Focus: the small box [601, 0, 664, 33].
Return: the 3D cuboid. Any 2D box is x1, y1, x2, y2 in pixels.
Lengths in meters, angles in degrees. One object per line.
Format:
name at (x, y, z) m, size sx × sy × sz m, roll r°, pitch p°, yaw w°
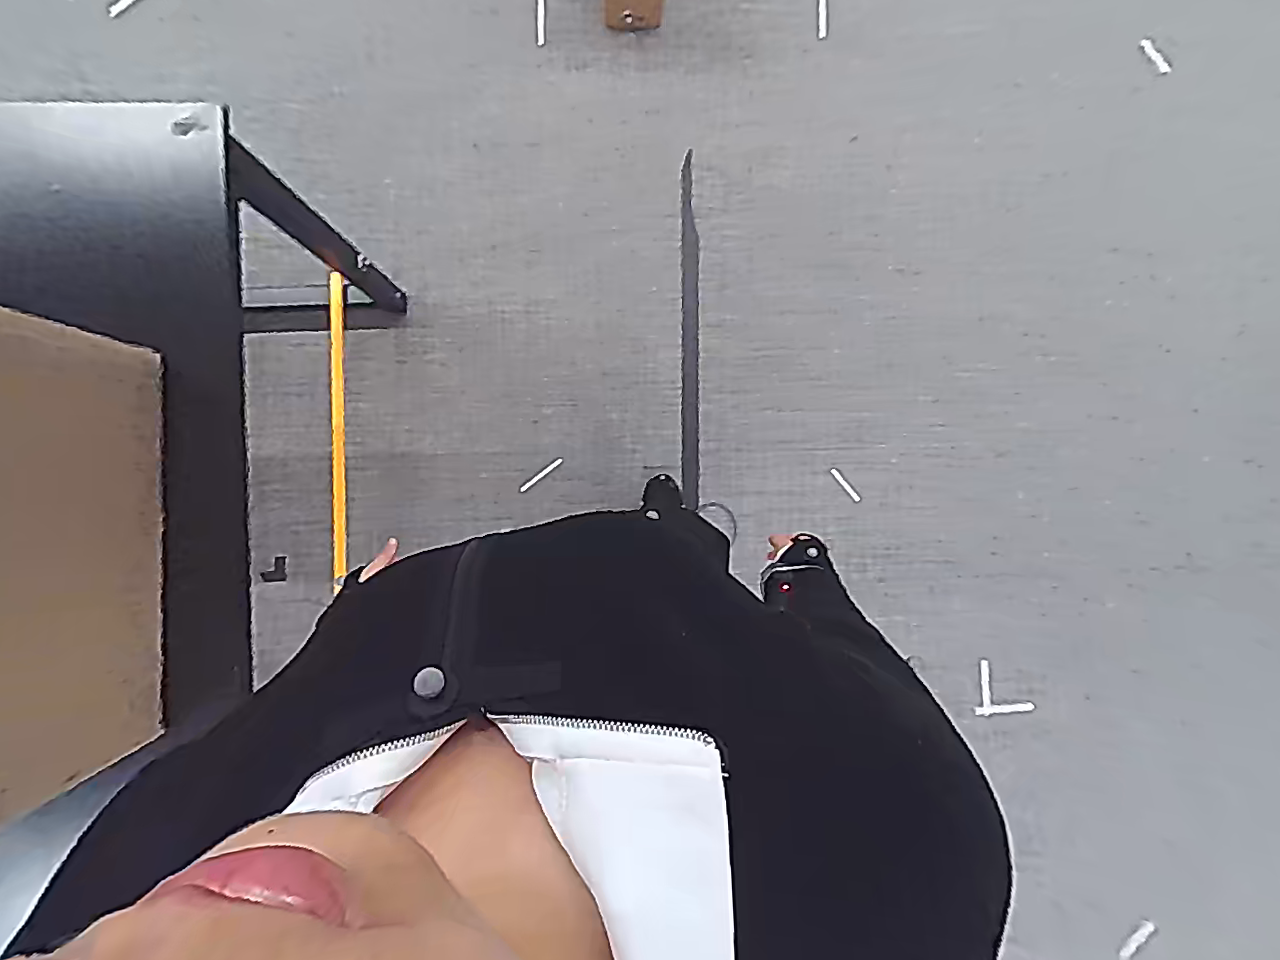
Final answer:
small box at (-0.023, -1.344, 1.436) m, size 0.168 × 0.176 × 0.179 m, roll -3°, pitch 91°, yaw -2°
